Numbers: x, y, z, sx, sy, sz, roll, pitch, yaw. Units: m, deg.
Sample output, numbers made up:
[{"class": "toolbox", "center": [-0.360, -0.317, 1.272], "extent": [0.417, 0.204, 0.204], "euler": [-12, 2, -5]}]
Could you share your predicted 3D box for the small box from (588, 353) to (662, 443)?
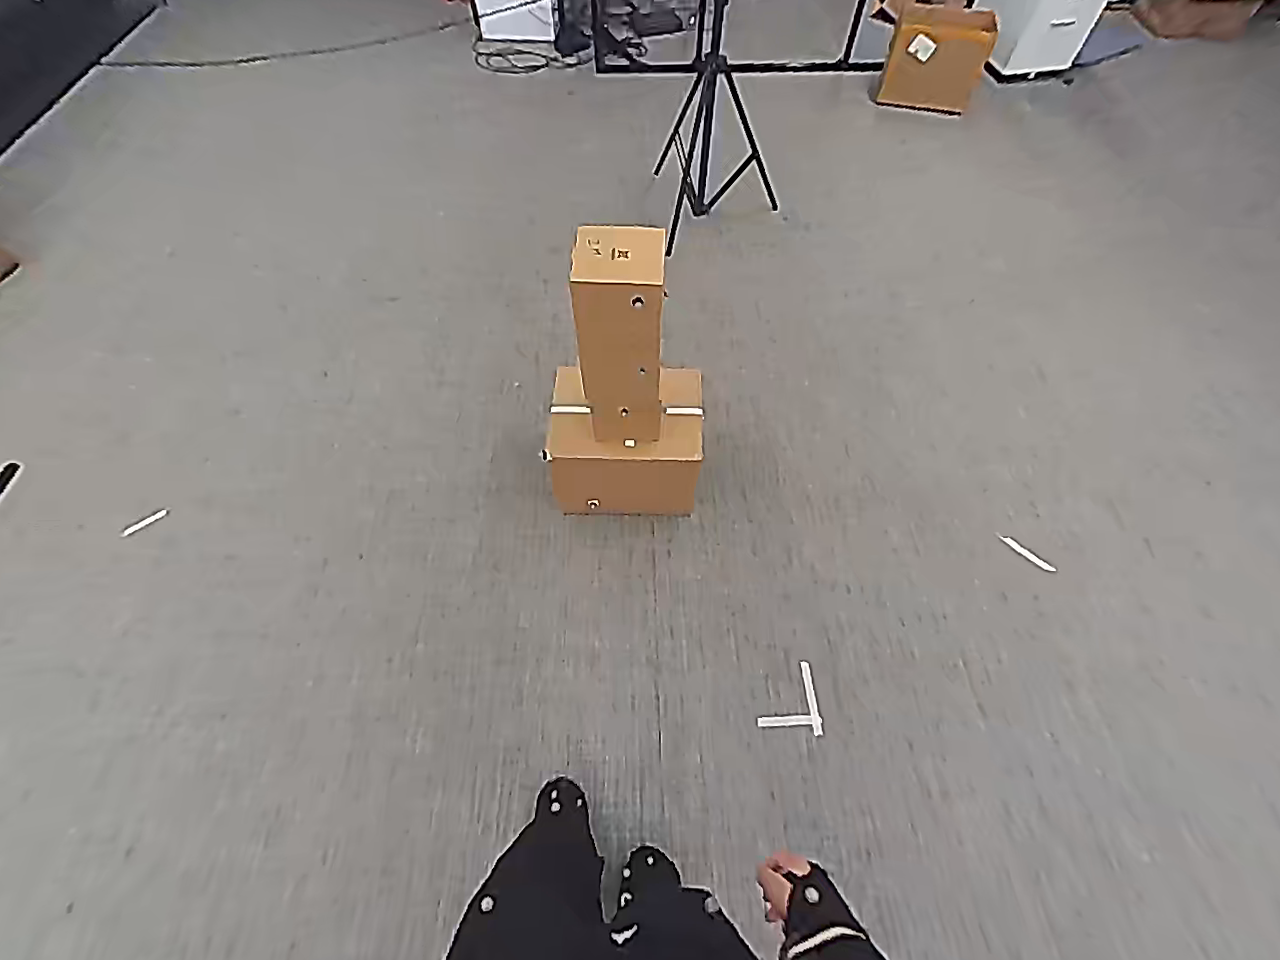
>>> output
[{"class": "small box", "center": [-0.036, -0.205, 1.376], "extent": [0.179, 0.176, 0.168], "euler": [-1, 60, -1]}]

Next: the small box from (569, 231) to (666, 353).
[{"class": "small box", "center": [-0.040, -0.375, 1.095], "extent": [0.179, 0.176, 0.168], "euler": [2, 59, 2]}]
